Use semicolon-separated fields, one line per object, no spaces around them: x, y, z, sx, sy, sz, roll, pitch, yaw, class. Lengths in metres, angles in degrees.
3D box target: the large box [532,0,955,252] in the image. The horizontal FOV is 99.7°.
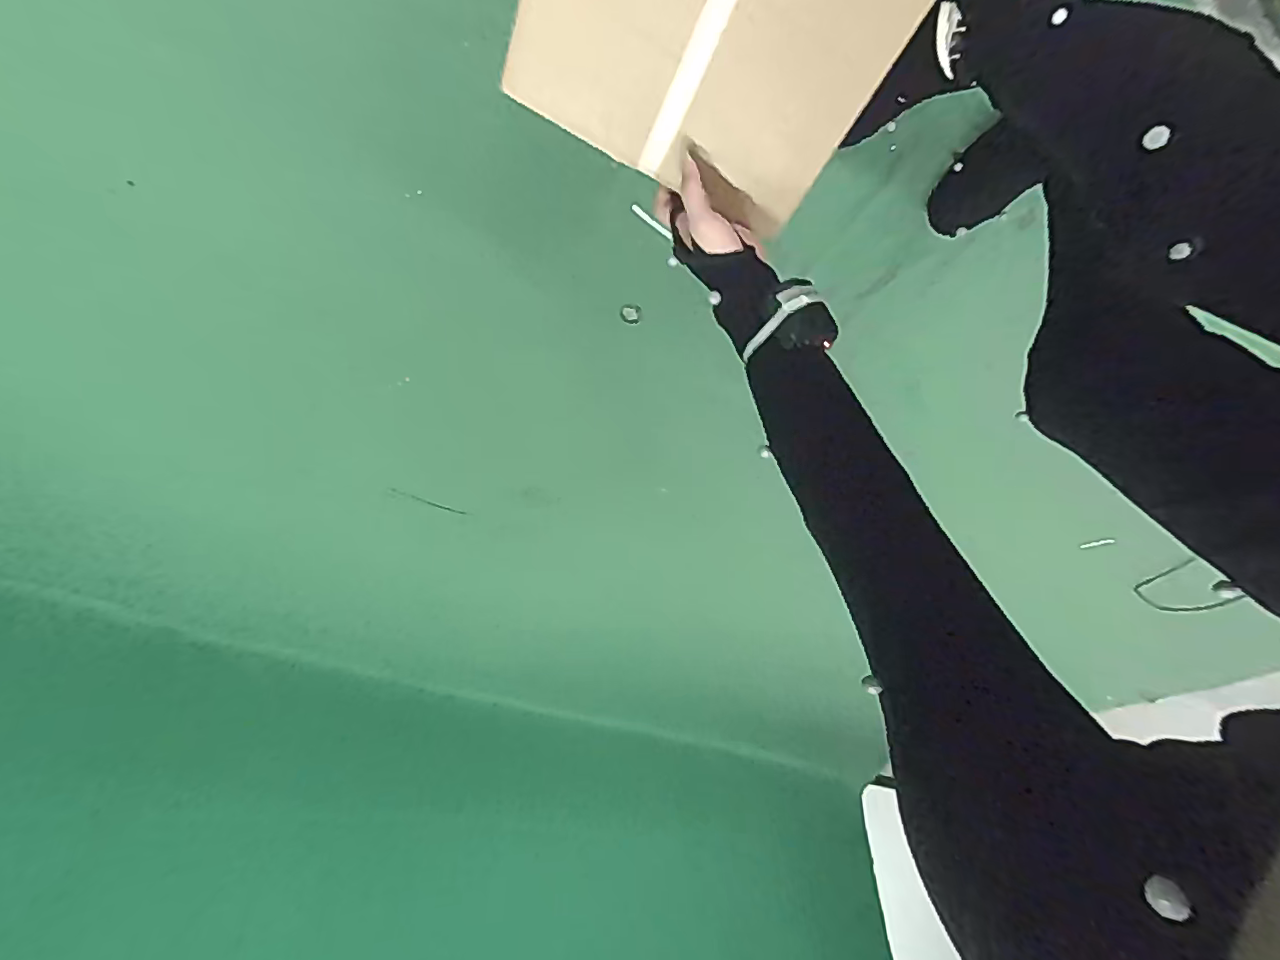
0.126;-0.531;0.543;0.320;0.320;0.408;23;134;-12;large box
